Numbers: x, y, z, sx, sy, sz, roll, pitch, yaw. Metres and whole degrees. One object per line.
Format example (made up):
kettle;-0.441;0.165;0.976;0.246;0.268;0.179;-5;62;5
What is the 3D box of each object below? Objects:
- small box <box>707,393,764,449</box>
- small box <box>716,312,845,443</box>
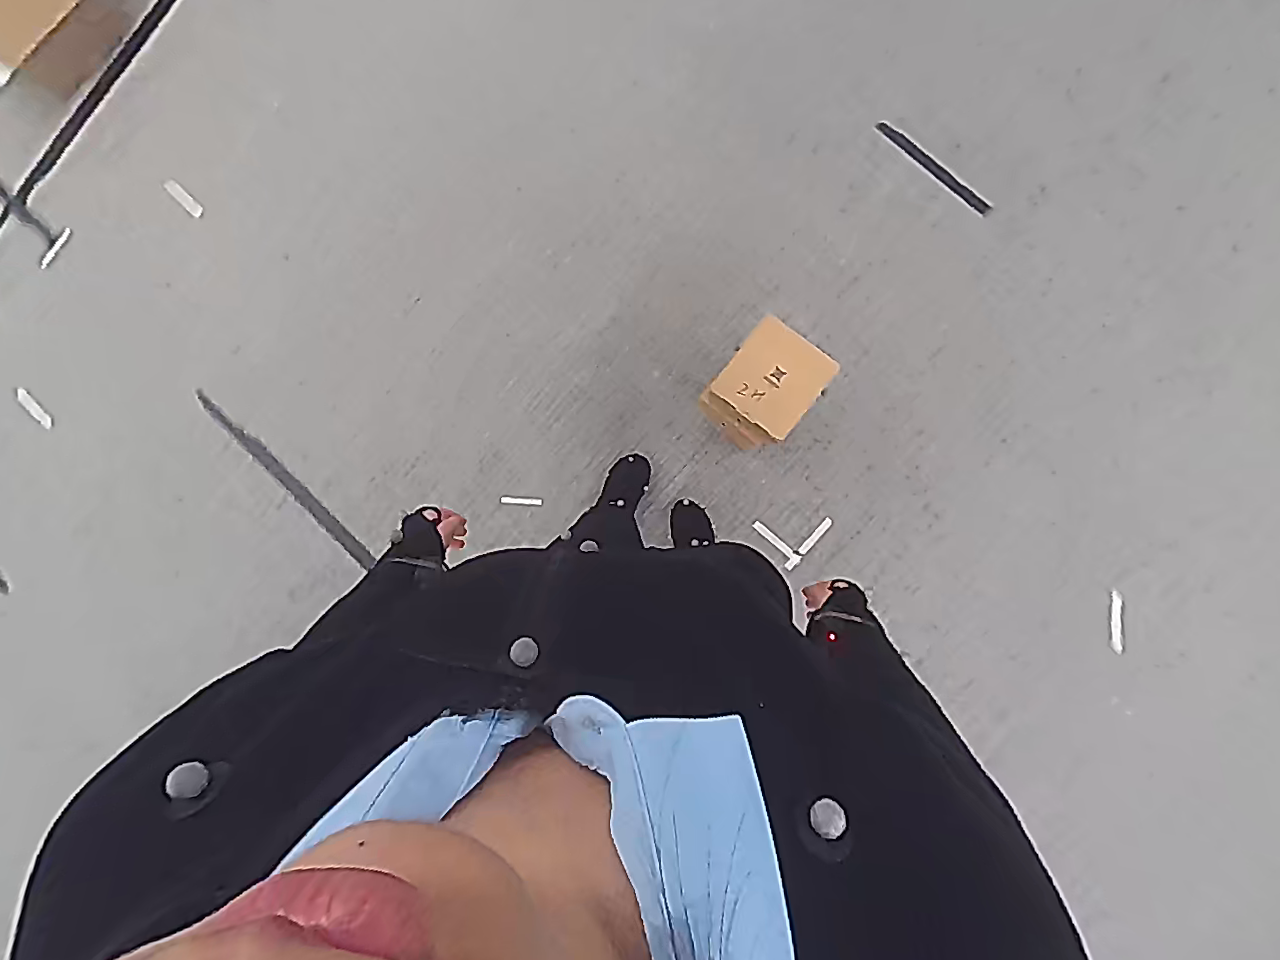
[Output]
small box;0.282;-0.195;1.378;0.168;0.176;0.179;42;95;3
small box;0.259;-0.189;1.049;0.168;0.176;0.179;38;96;4
